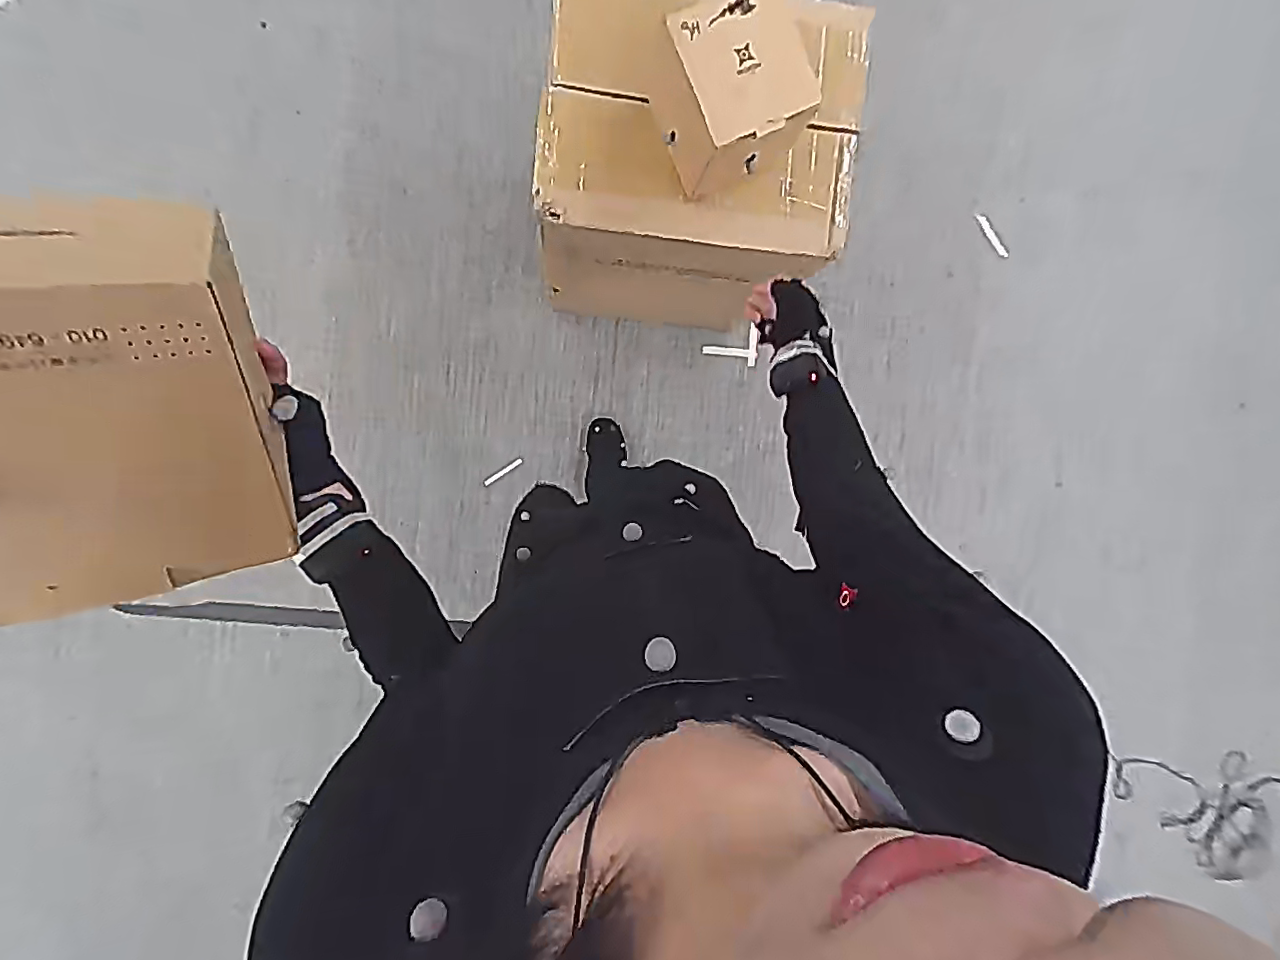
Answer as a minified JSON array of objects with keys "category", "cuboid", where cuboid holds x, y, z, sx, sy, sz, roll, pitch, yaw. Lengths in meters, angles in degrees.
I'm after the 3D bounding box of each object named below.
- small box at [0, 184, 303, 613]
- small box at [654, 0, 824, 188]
[{"category":"small box","cuboid":[-0.306,-0.057,0.300,0.168,0.179,0.176,-13,130,-28]},{"category":"small box","cuboid":[0.133,-0.557,0.787,0.168,0.176,0.179,-25,98,-4]}]
